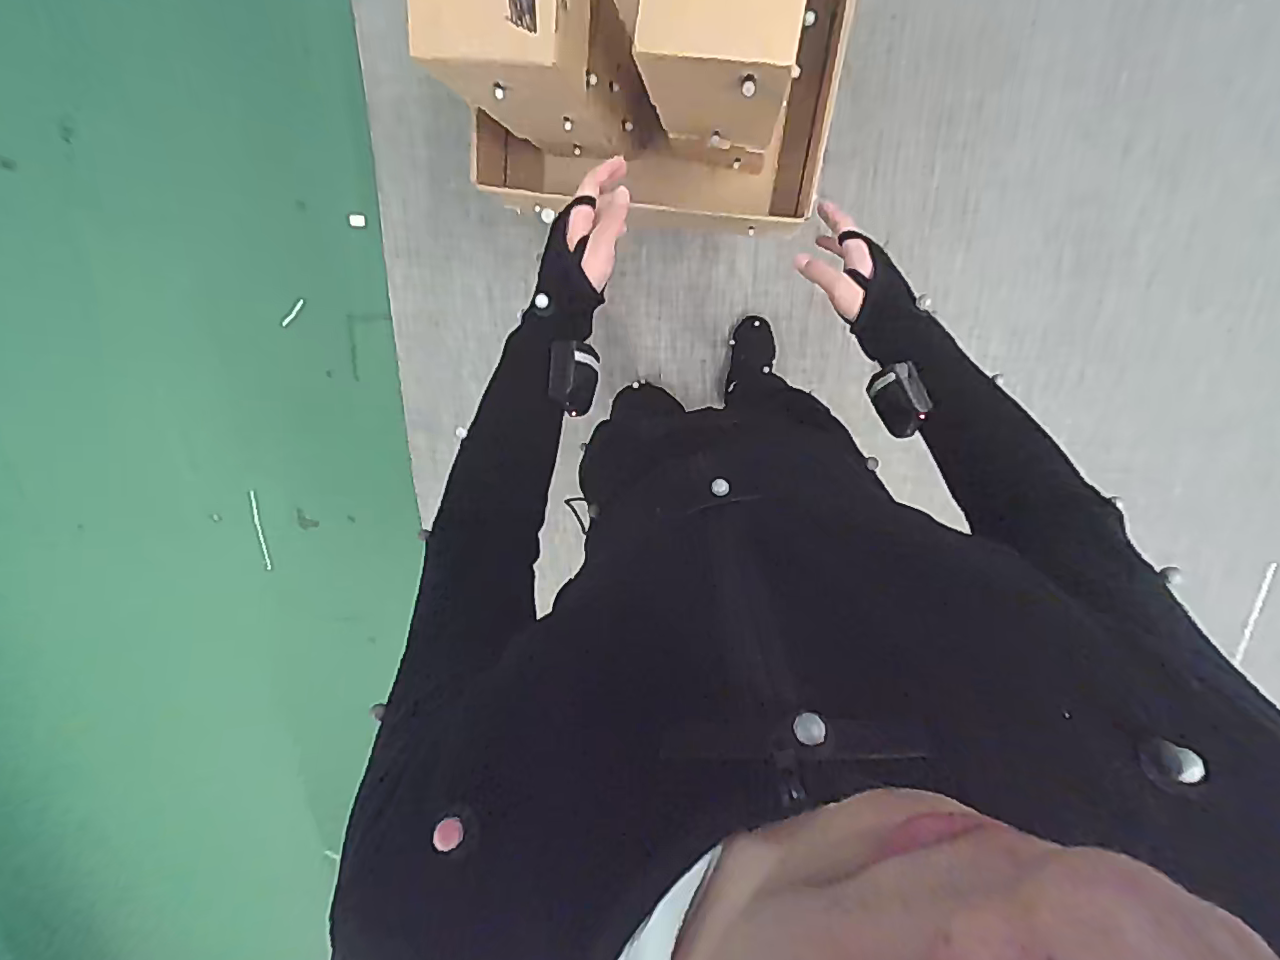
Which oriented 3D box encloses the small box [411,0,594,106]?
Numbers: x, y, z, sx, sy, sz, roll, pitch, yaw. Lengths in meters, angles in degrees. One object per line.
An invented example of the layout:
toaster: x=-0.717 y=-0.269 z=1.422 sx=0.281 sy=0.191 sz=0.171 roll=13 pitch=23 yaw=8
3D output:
small box: x=-0.159 y=-0.583 z=0.665 sx=0.179 sy=0.176 sz=0.168 roll=9 pitch=110 yaw=8

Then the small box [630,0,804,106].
small box: x=0.098 y=-0.554 z=0.622 sx=0.179 sy=0.176 sz=0.168 roll=11 pitch=111 yaw=7

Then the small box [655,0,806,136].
small box: x=0.128 y=-0.613 z=0.774 sx=0.179 sy=0.176 sz=0.168 roll=13 pitch=111 yaw=5

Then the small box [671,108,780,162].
small box: x=0.159 y=-0.666 z=0.925 sx=0.168 sy=0.176 sz=0.179 roll=14 pitch=111 yaw=6
